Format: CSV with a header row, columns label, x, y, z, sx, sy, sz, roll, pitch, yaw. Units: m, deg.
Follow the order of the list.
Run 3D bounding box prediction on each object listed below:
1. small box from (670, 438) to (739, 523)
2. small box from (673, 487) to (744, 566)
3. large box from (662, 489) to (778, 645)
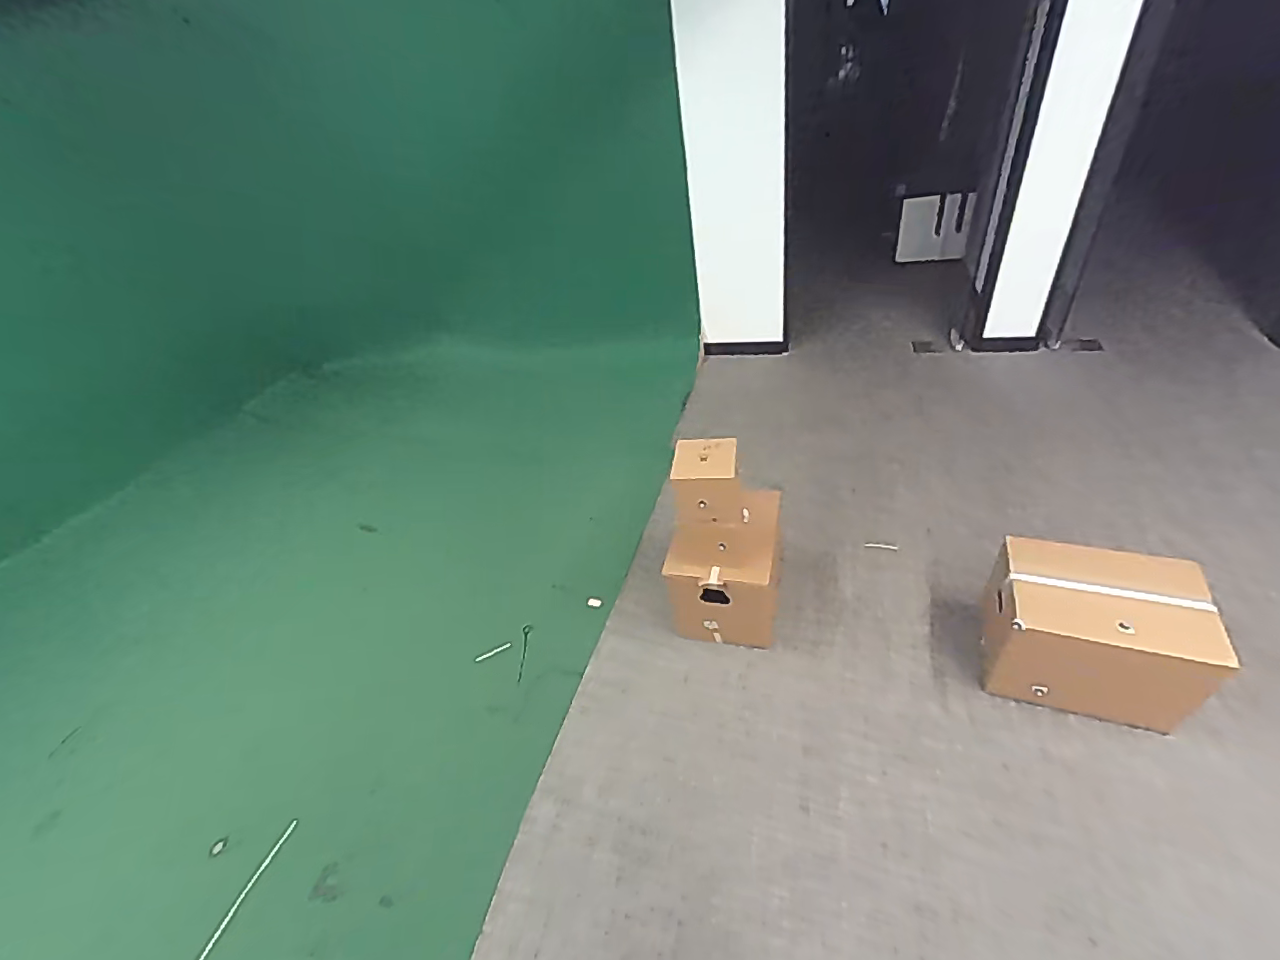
label,x,y,z,sx,sy,sz,roll,pitch,yaw
small box,0.183,0.003,1.481,0.168,0.176,0.179,0,39,14
small box,0.208,0.133,1.579,0.179,0.176,0.168,2,40,18
large box,0.282,0.275,1.776,0.320,0.320,0.408,3,40,18
